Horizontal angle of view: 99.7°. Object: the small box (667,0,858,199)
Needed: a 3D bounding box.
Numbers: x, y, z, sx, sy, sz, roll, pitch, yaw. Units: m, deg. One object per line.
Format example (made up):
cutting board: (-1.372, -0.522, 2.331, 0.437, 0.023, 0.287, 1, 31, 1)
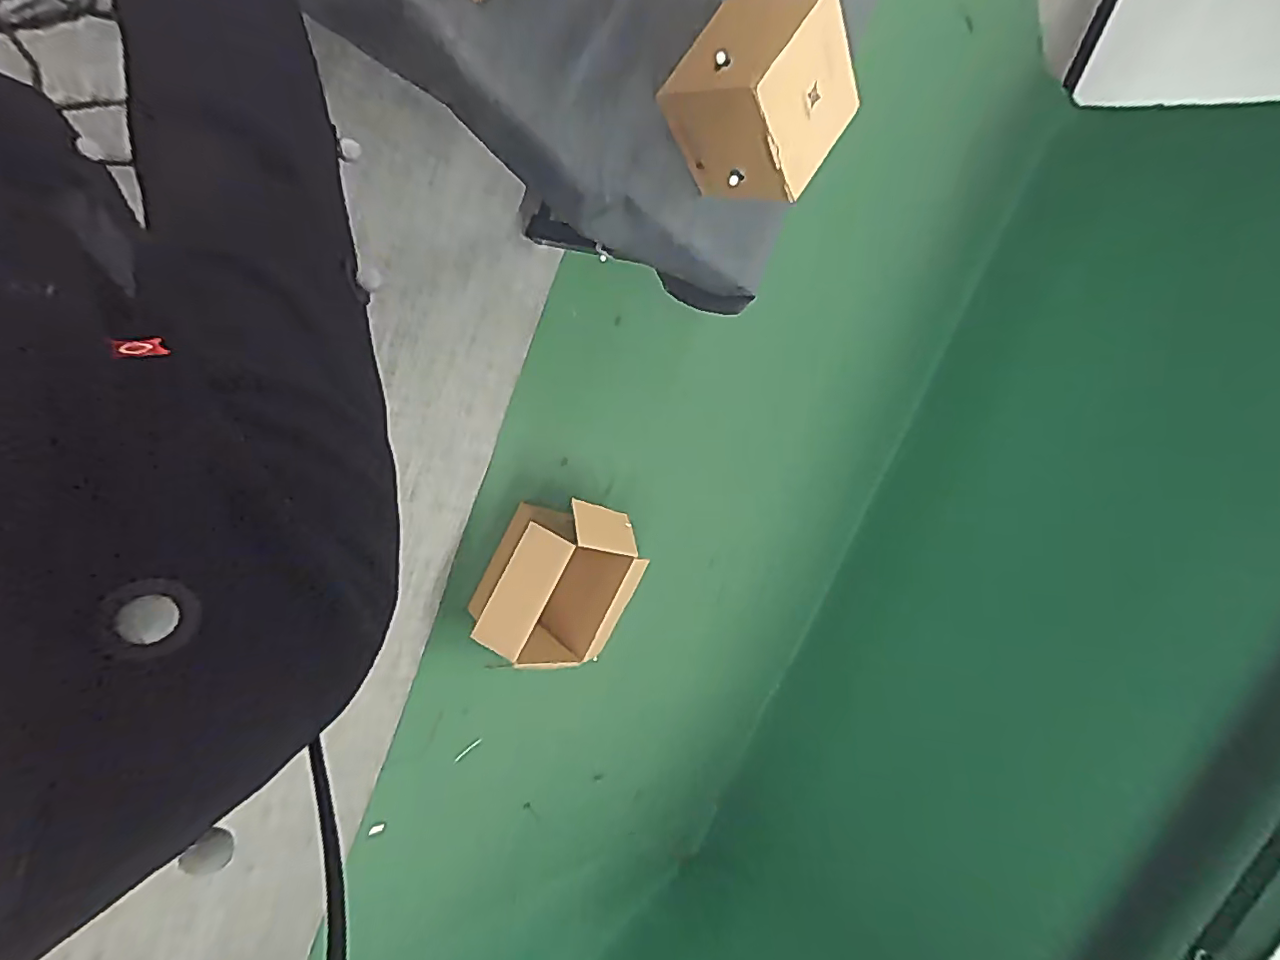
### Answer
small box: (0.159, -0.509, 0.723, 0.179, 0.176, 0.168, -58, 141, -6)
